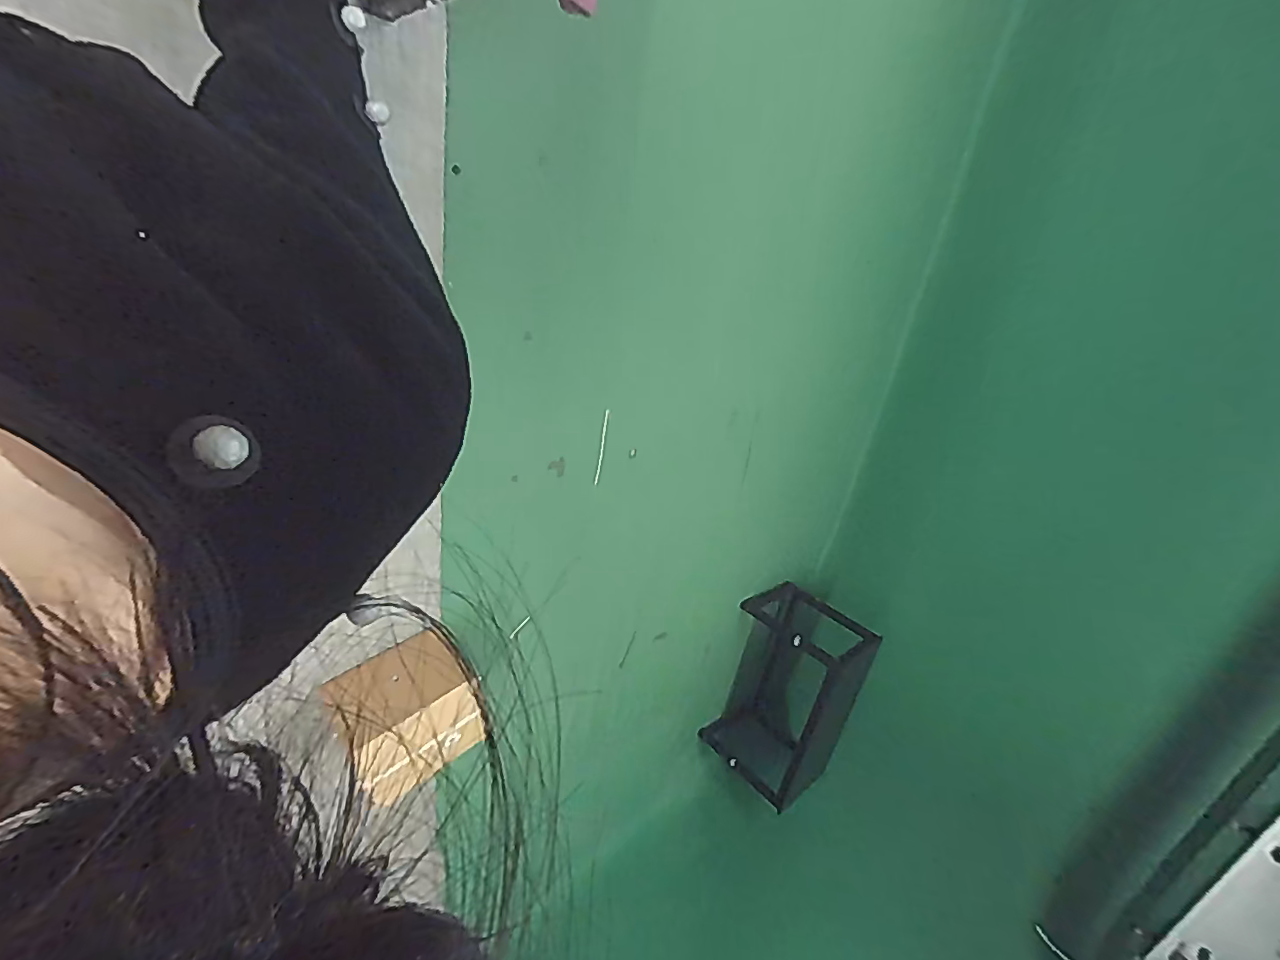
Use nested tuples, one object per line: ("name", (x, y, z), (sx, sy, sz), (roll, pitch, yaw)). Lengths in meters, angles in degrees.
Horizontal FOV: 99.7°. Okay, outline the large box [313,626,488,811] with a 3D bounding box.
("large box", (-0.785, 0.774, 1.802), (0.408, 0.320, 0.320), (-28, 131, -35))
